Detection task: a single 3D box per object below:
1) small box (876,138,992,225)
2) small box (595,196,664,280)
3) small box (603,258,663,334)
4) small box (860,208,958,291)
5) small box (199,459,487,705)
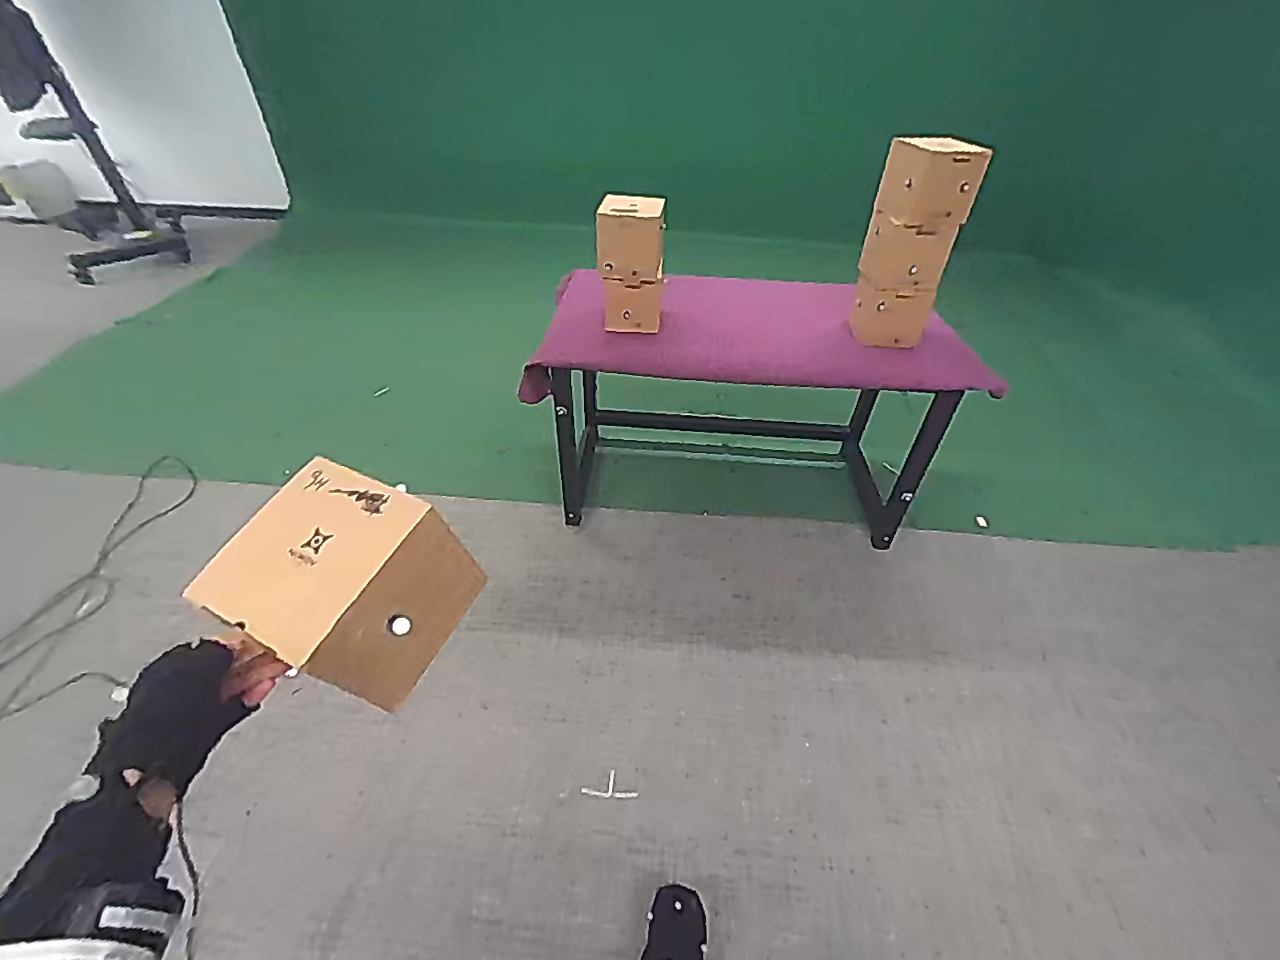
[{"bbox_3d":[0.734,-0.755,1.371,0.168,0.176,0.179,-5,42,-9],"label":"small box"},{"bbox_3d":[-0.025,-0.666,1.493,0.168,0.176,0.179,6,42,3],"label":"small box"},{"bbox_3d":[-0.021,-0.555,1.615,0.168,0.176,0.179,3,43,0],"label":"small box"},{"bbox_3d":[0.724,-0.633,1.479,0.168,0.176,0.179,1,42,0],"label":"small box"},{"bbox_3d":[-0.293,0.113,0.579,0.168,0.176,0.179,21,61,20],"label":"small box"}]
